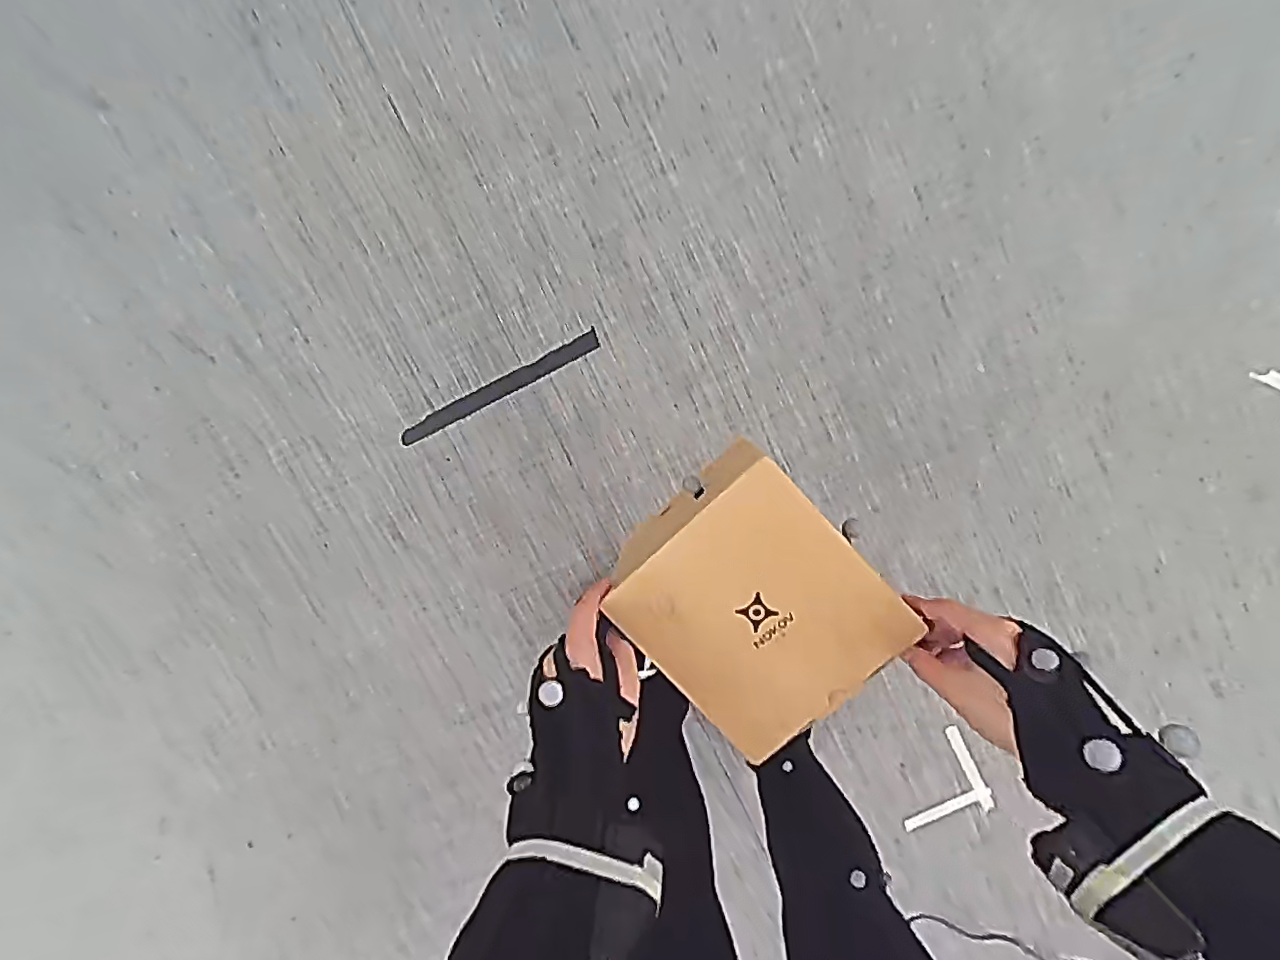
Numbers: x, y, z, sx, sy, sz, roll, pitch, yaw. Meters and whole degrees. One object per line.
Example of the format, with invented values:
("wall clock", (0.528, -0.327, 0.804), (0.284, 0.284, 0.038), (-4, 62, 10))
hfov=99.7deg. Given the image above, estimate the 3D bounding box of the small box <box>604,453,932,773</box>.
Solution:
("small box", (0.093, 0.091, 0.461), (0.168, 0.176, 0.179), (-43, 94, 10))
